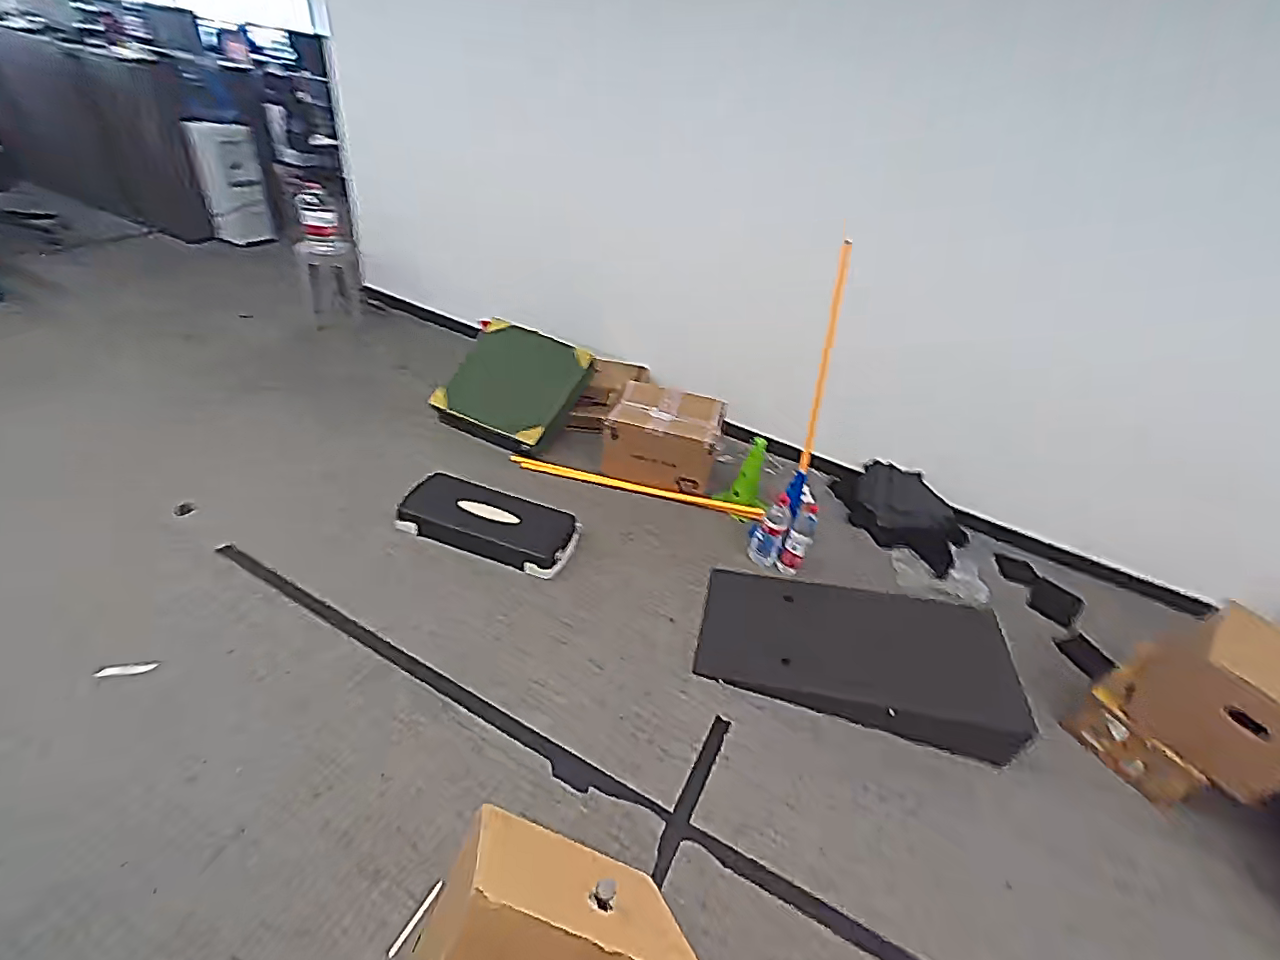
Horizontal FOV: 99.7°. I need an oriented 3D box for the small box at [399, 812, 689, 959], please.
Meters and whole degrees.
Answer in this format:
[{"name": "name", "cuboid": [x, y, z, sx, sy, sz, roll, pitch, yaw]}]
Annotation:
[{"name": "small box", "cuboid": [-0.077, 0.371, 0.382, 0.179, 0.176, 0.168, 29, 70, -7]}]
